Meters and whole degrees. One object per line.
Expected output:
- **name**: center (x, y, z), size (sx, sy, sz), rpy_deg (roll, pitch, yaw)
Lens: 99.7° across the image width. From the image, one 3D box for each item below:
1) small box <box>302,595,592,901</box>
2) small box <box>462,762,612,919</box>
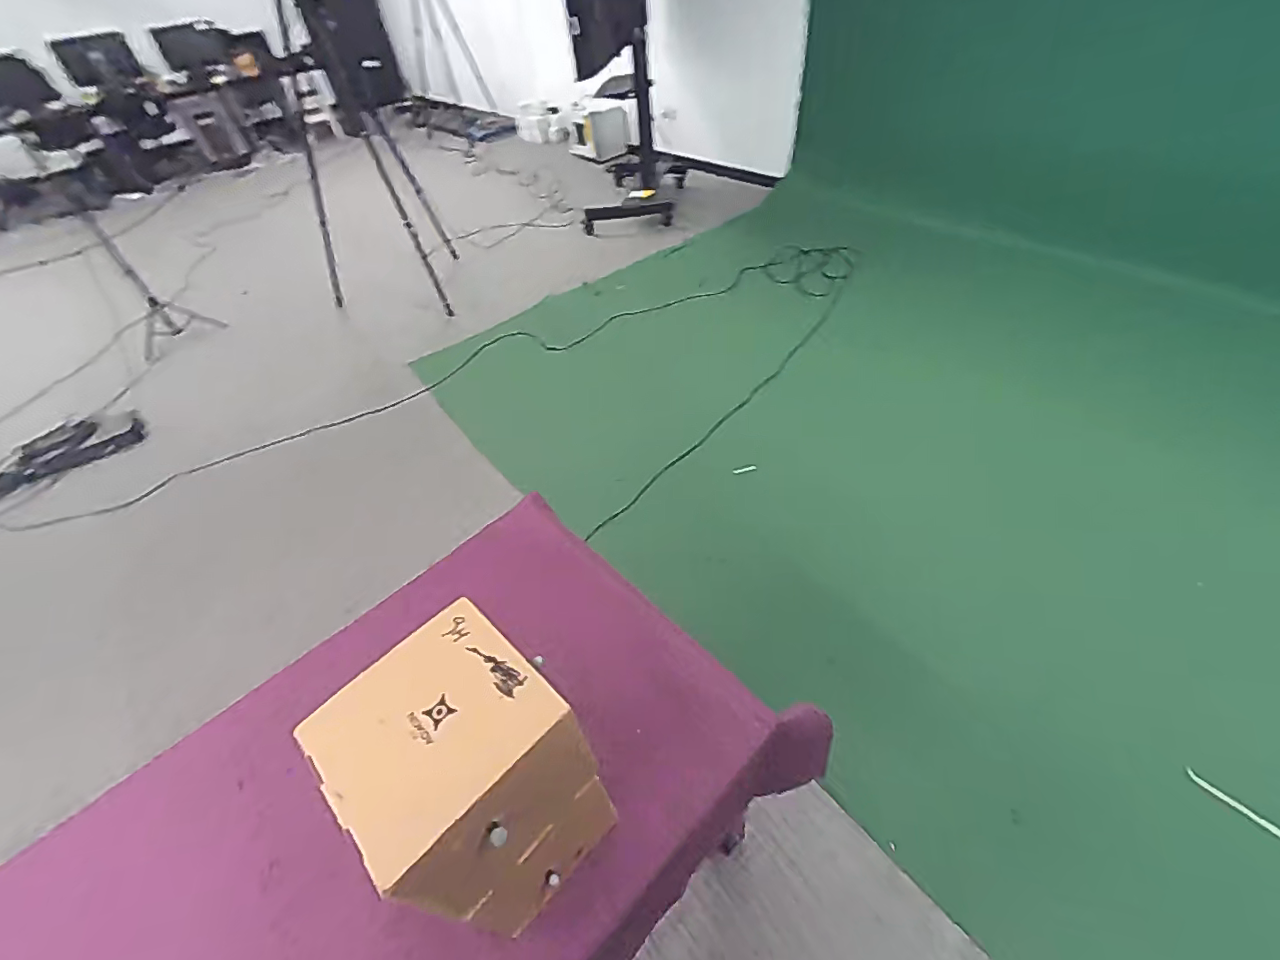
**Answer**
- **small box**: center (-0.167, 0.254, 0.516), size (0.168, 0.176, 0.179), rpy_deg (33, 58, 32)
- **small box**: center (-0.154, 0.368, 0.634), size (0.179, 0.176, 0.168), rpy_deg (32, 58, 32)
